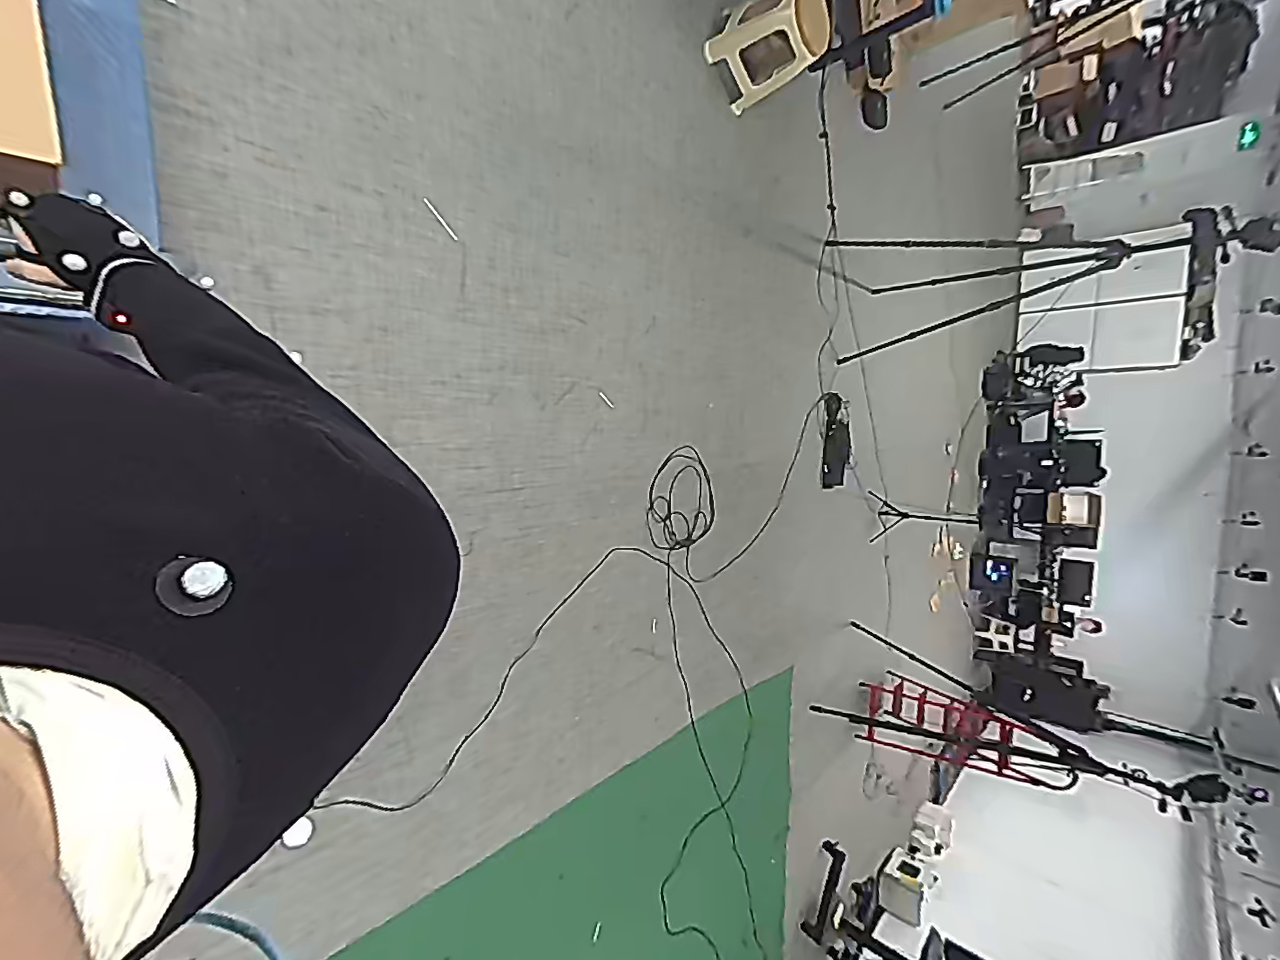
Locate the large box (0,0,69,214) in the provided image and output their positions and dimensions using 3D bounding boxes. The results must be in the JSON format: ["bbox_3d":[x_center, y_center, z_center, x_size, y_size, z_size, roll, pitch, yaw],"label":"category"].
[{"bbox_3d":[-1.083,-0.656,0.774,0.320,0.320,0.408,-10,101,-45],"label":"large box"}]
